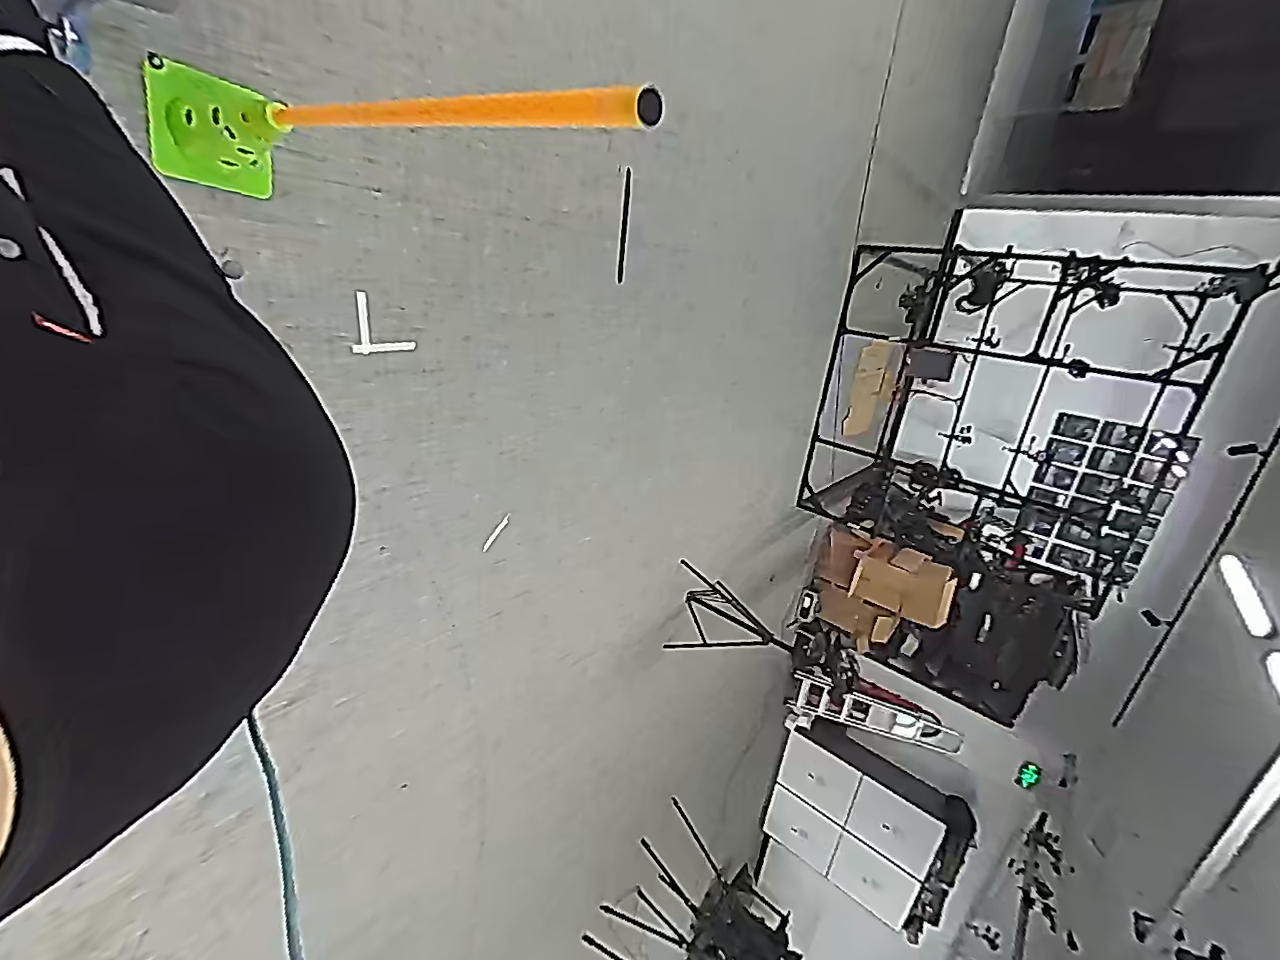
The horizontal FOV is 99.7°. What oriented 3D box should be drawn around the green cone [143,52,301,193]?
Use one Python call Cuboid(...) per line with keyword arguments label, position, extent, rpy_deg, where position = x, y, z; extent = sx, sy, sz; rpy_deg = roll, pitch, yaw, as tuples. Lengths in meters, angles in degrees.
Cuboid(label="green cone", position=(-0.722, -0.651, 0.985), extent=(0.202, 0.368, 0.200), rpy_deg=(-13, 118, -51))
